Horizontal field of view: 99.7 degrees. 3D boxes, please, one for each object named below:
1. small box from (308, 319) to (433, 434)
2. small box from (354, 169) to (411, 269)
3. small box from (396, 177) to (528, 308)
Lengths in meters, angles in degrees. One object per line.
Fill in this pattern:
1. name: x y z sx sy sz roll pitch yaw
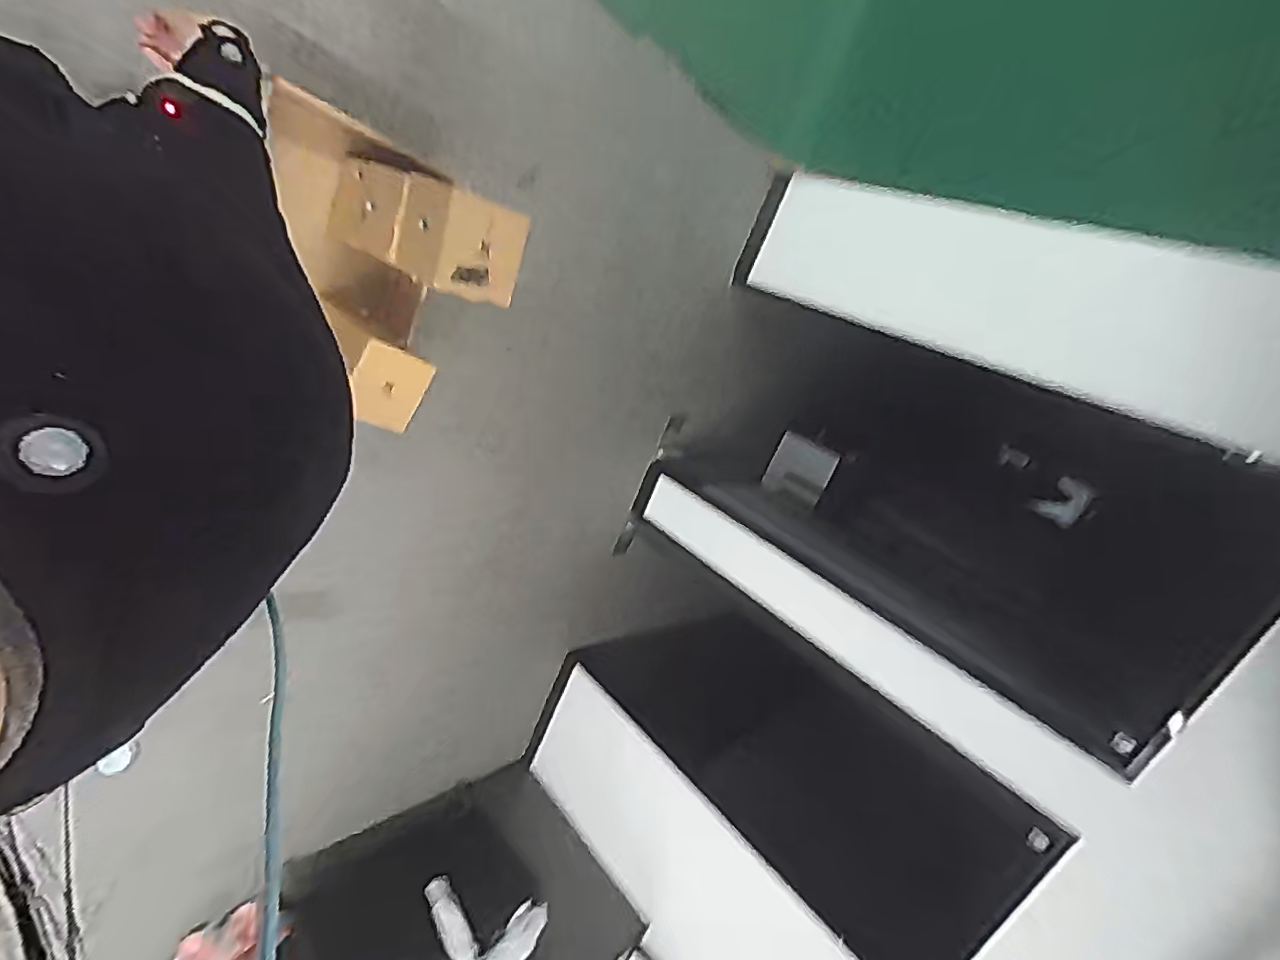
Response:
1. small box: -0.611 -0.236 1.219 0.168 0.176 0.179 24 100 -55
2. small box: -0.467 -0.530 1.138 0.179 0.176 0.168 2 116 -50
3. small box: -0.350 -0.457 1.047 0.168 0.176 0.179 -3 119 -50
